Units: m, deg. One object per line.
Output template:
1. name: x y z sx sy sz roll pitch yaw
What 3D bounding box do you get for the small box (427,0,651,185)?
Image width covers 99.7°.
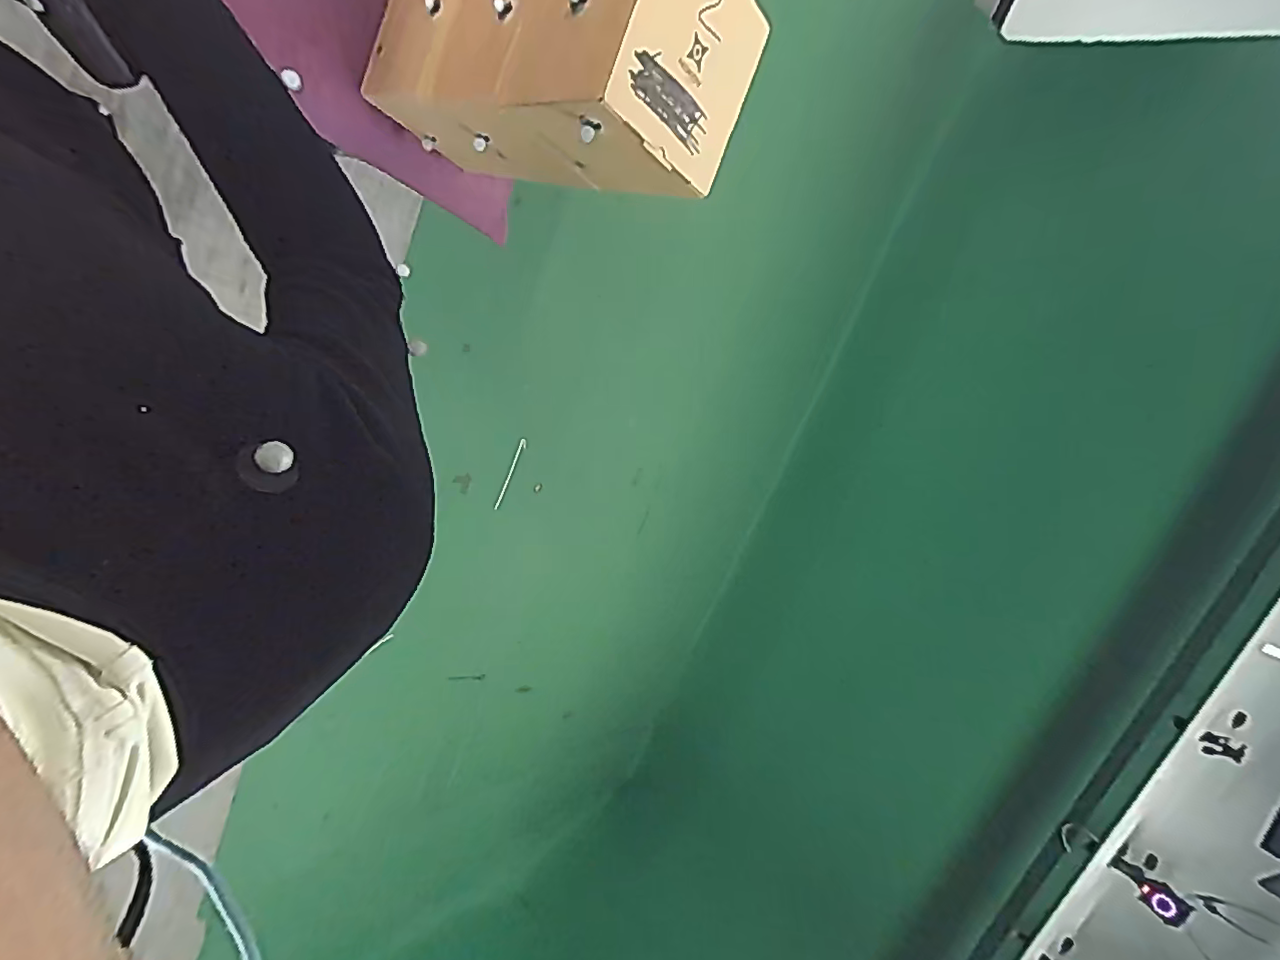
1. small box: -0.124 -0.488 0.644 0.168 0.176 0.179 14 104 -52

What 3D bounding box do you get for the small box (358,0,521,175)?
1. small box: -0.242 -0.553 0.736 0.179 0.176 0.168 13 104 -54
